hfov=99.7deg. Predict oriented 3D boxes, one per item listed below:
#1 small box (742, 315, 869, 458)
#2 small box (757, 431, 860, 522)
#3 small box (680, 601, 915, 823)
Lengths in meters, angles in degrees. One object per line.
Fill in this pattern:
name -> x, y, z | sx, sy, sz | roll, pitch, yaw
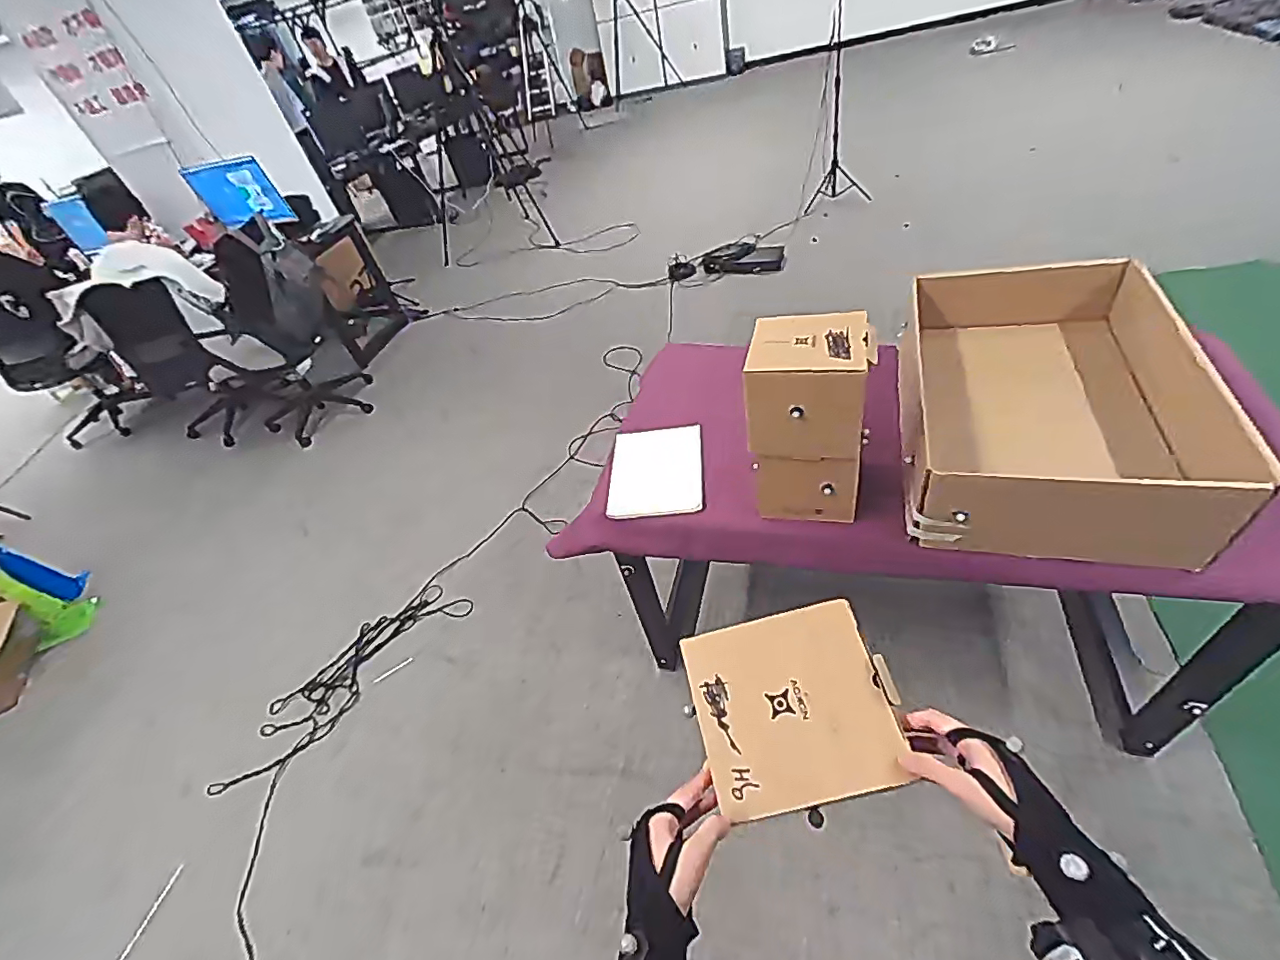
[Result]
small box -> 0.273, -0.151, 0.886 | 0.179, 0.176, 0.168 | 4, 45, 20
small box -> 0.315, -0.041, 1.001 | 0.168, 0.176, 0.179 | 4, 45, 20
small box -> 0.149, 0.248, 0.566 | 0.179, 0.176, 0.168 | -14, 55, 3
